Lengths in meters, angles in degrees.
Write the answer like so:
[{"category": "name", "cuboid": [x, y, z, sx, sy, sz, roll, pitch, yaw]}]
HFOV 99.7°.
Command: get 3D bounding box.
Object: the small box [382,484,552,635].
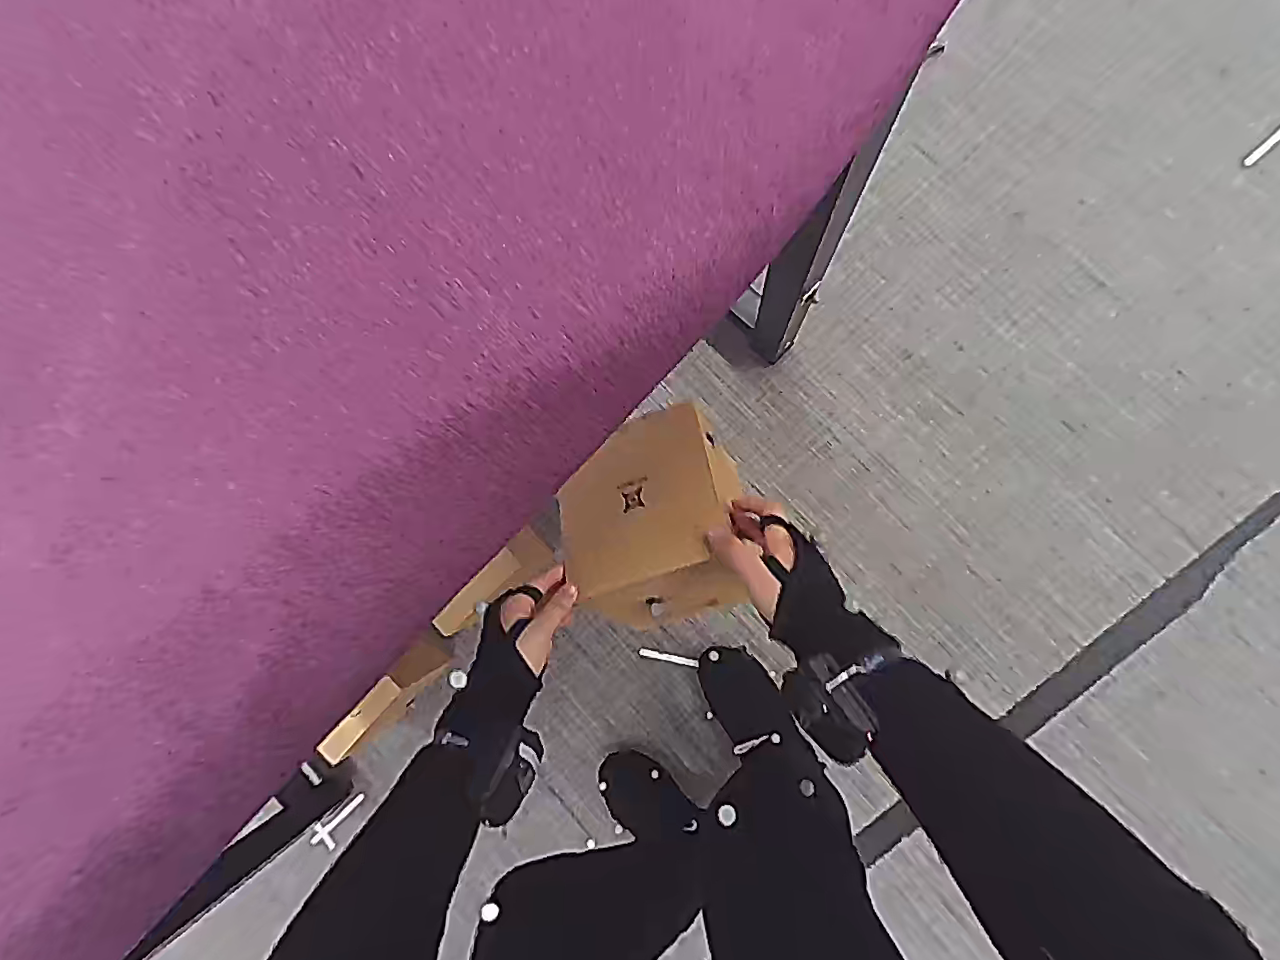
[{"category": "small box", "cuboid": [-0.274, 0.124, 0.901, 0.168, 0.176, 0.179, -43, 82, 2]}]
